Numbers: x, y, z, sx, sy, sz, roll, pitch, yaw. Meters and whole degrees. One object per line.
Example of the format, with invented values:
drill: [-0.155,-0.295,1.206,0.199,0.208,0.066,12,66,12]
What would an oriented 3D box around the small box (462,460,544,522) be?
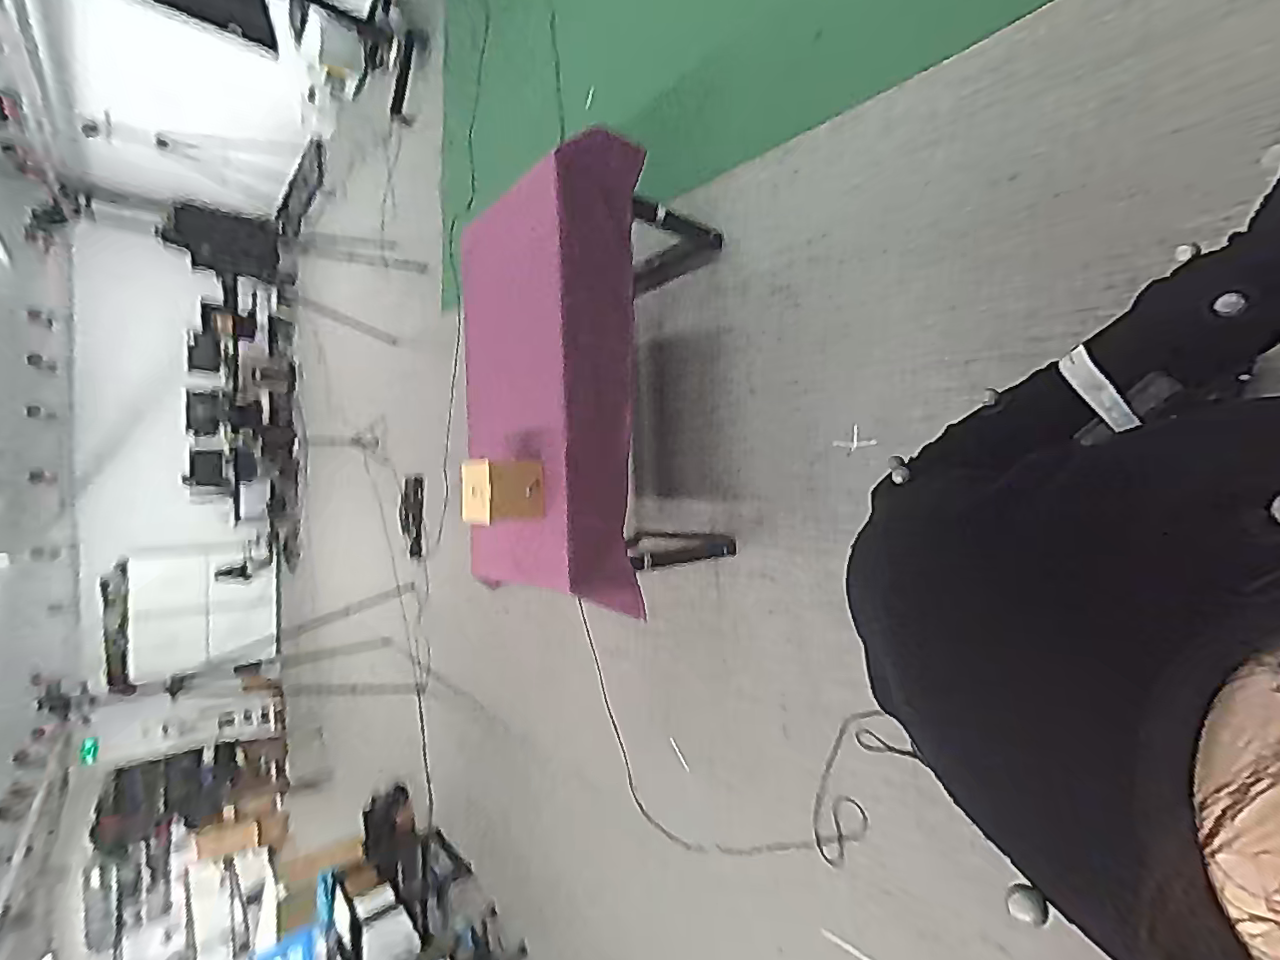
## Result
small box: [-0.389,0.030,1.531,0.179,0.176,0.168,-1,90,48]
